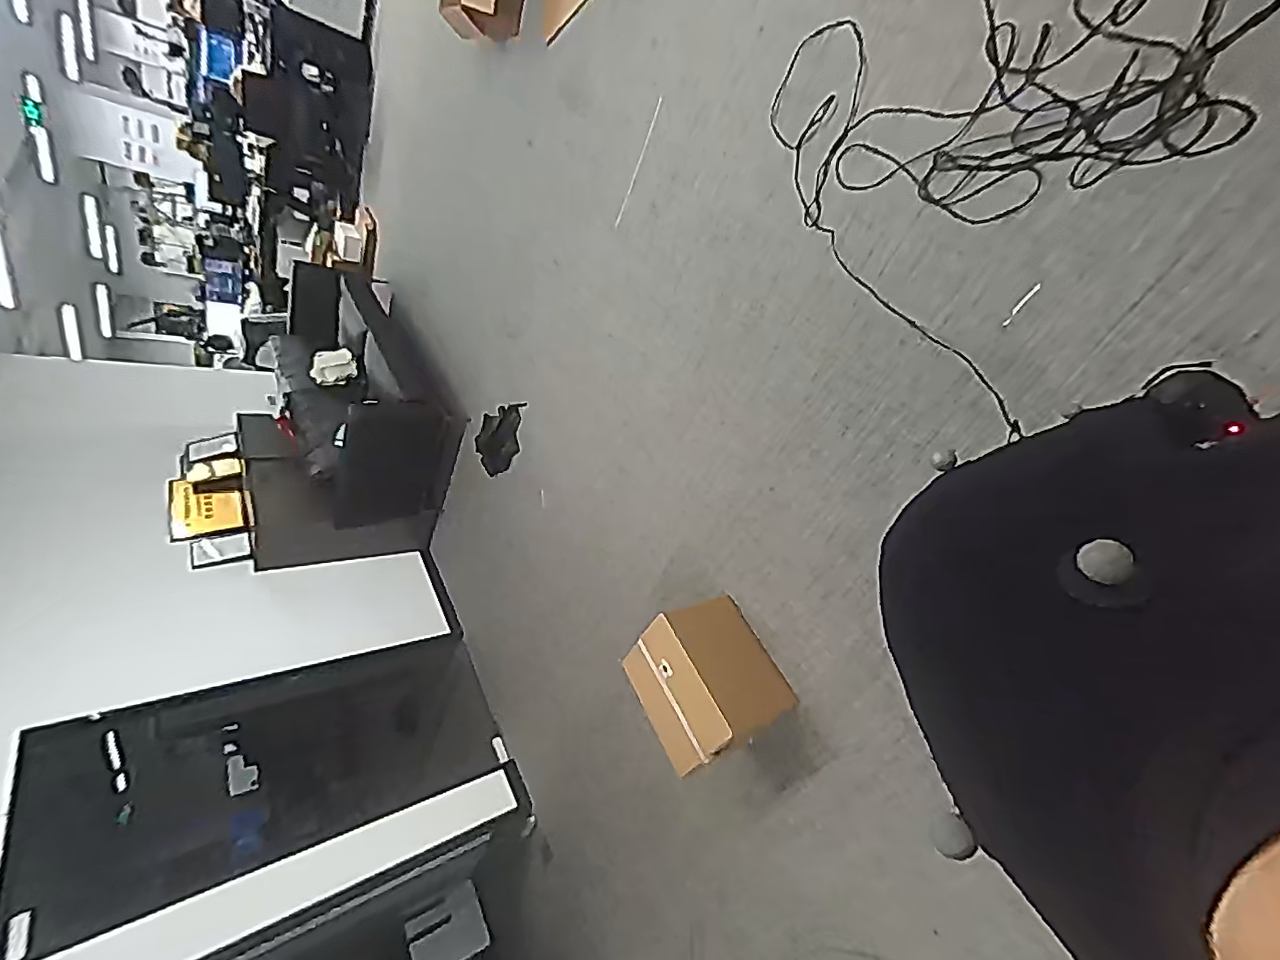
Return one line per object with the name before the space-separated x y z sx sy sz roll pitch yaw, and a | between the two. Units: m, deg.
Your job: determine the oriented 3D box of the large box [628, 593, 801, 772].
large box | 0.230 0.637 1.747 0.408 0.320 0.320 57 132 32
